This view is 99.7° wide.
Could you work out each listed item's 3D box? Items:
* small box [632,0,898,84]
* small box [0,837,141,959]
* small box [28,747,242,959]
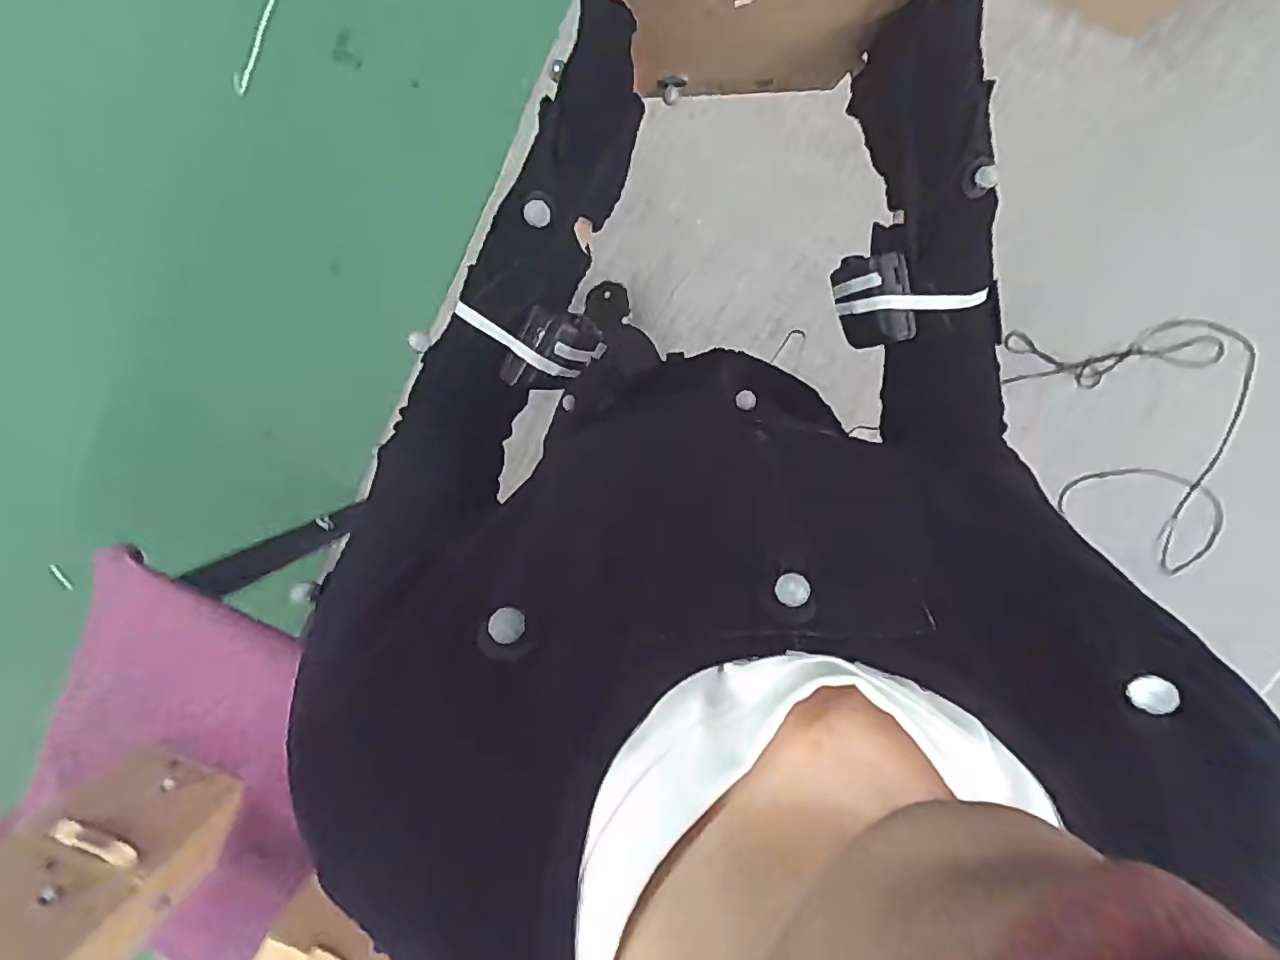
[{"bbox_3d":[0.078,-0.367,0.325,0.168,0.176,0.179,-1,106,0],"label":"small box"},{"bbox_3d":[-0.731,0.563,0.613,0.168,0.176,0.179,27,100,-3],"label":"small box"},{"bbox_3d":[-0.722,0.531,0.772,0.168,0.176,0.179,26,100,-4],"label":"small box"}]
